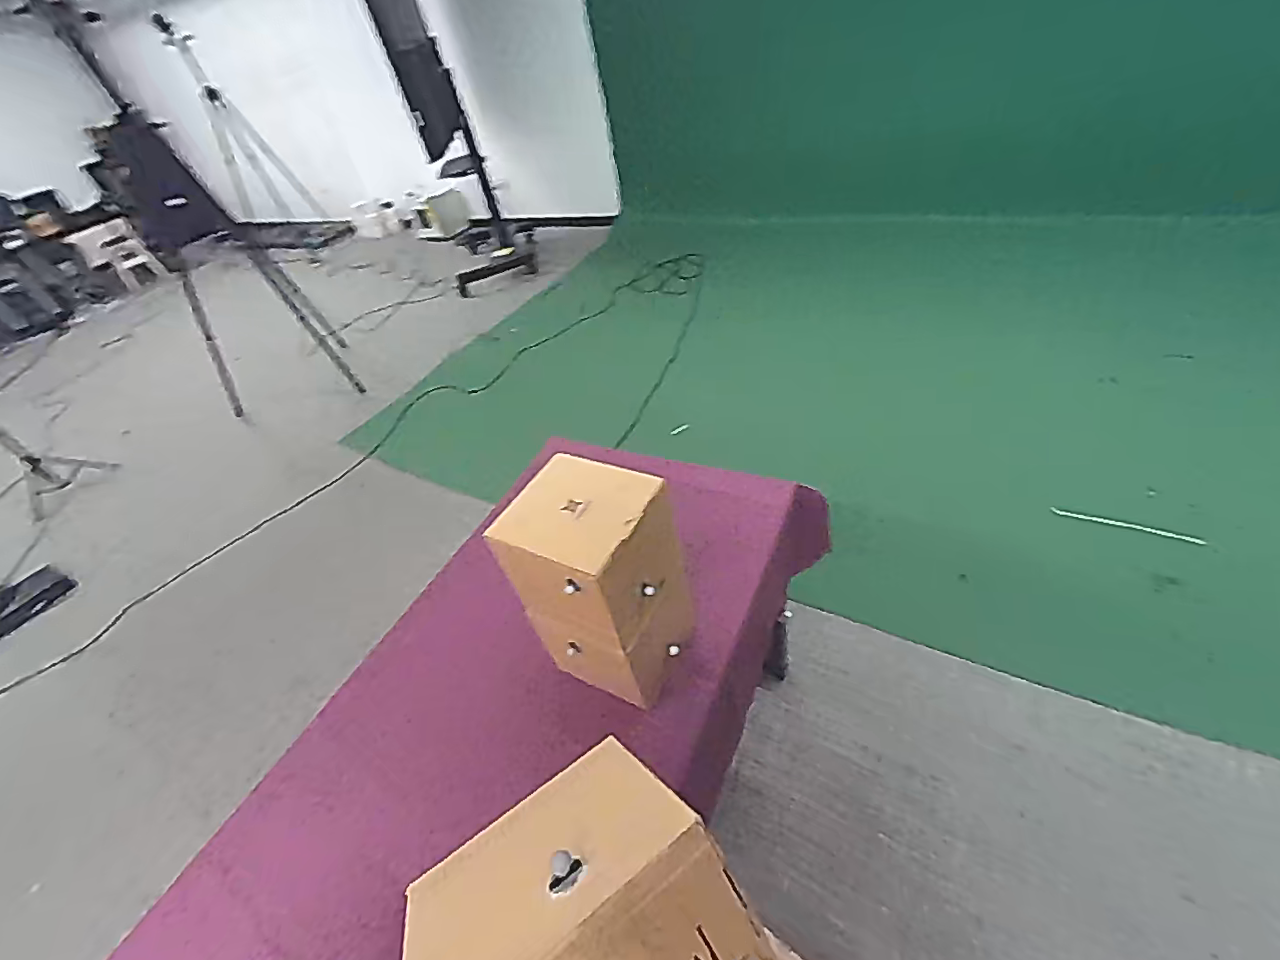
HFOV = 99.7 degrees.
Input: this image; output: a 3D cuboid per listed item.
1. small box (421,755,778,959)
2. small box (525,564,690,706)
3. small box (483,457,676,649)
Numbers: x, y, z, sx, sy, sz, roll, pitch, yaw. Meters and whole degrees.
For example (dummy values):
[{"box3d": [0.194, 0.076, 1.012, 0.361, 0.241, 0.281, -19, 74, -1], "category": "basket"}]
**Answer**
[{"box3d": [-0.023, 0.311, 0.338, 0.179, 0.168, 0.176, -27, 1, -21], "category": "small box"}, {"box3d": [-0.040, 0.216, 0.832, 0.179, 0.176, 0.168, 14, 50, 28], "category": "small box"}, {"box3d": [-0.070, 0.097, 0.725, 0.179, 0.176, 0.168, 15, 49, 27], "category": "small box"}]
